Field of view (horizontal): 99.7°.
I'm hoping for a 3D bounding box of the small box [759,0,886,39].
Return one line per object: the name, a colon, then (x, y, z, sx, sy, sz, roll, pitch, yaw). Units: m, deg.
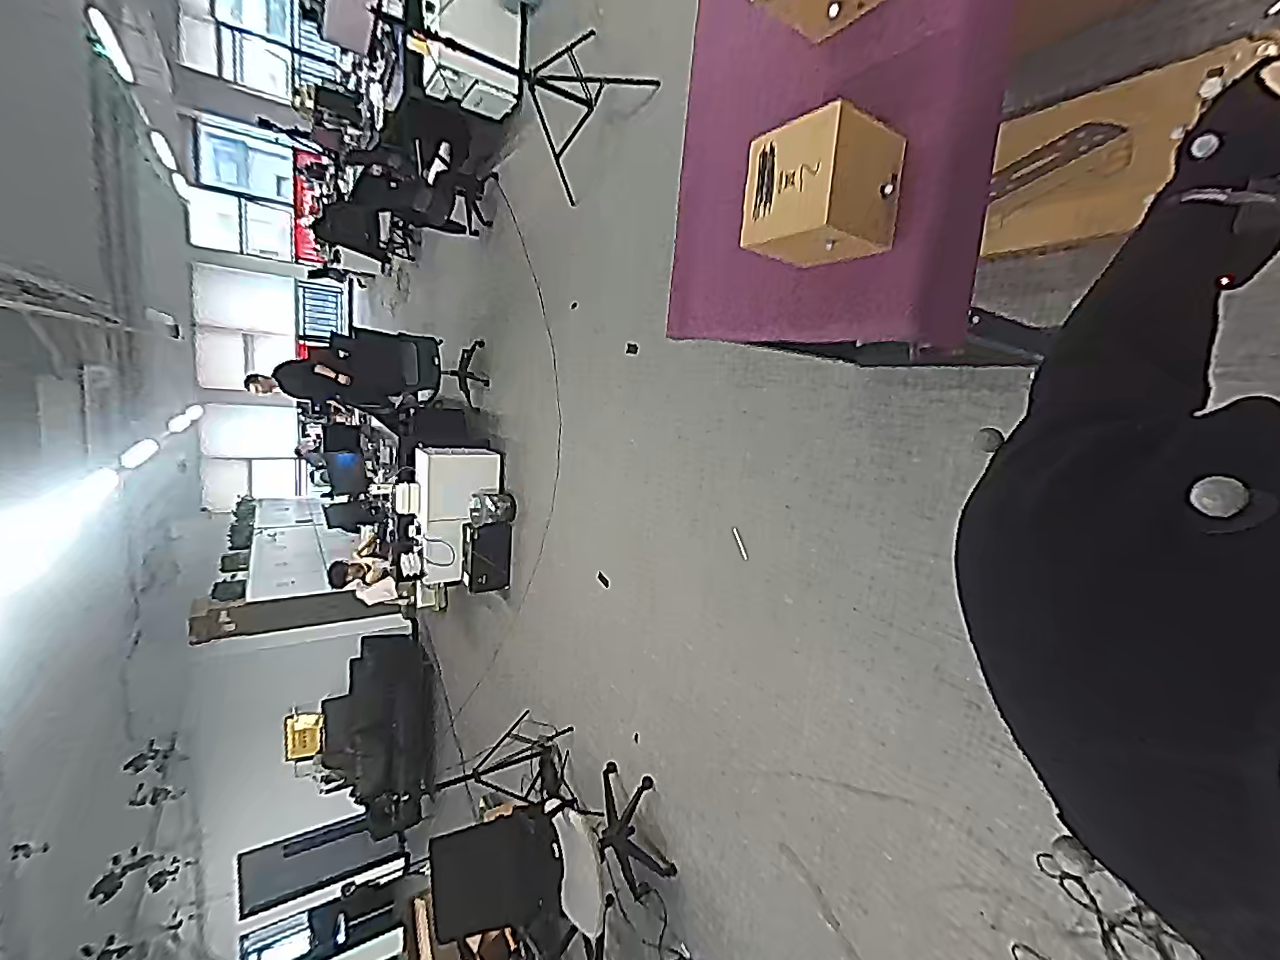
small box: (0.295, -0.846, 0.835, 0.168, 0.176, 0.179, 17, 105, 57)
